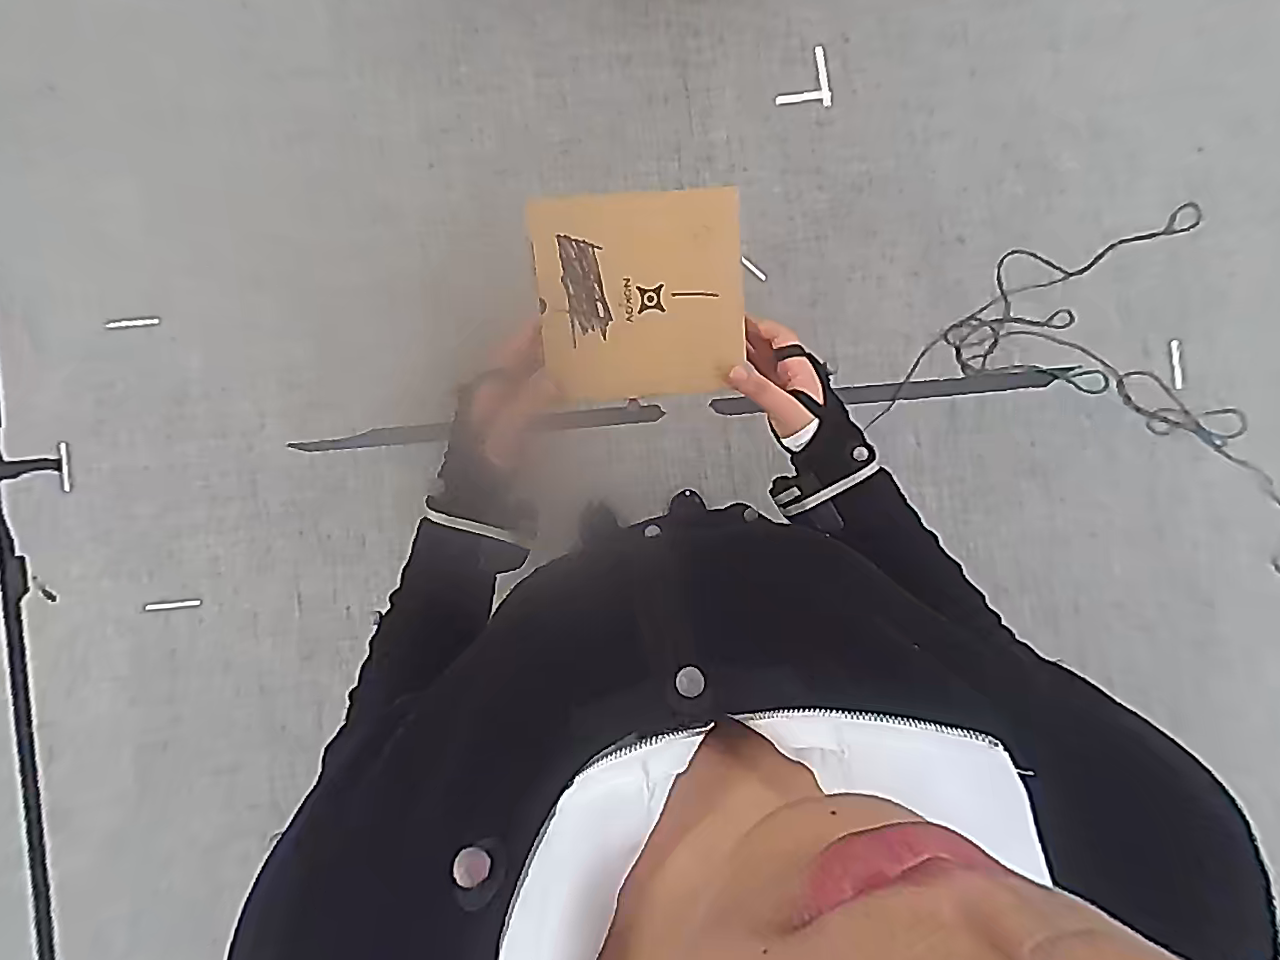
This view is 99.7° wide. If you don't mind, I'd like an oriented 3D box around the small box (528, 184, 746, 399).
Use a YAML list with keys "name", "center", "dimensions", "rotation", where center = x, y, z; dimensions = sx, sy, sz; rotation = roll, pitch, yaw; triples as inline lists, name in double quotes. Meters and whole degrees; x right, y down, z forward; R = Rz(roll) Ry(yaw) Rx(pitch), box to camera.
- name: "small box"
  center: [-0.002, -0.169, 0.534]
  dimensions: [0.179, 0.176, 0.168]
  rotation: [-5, 99, -1]
